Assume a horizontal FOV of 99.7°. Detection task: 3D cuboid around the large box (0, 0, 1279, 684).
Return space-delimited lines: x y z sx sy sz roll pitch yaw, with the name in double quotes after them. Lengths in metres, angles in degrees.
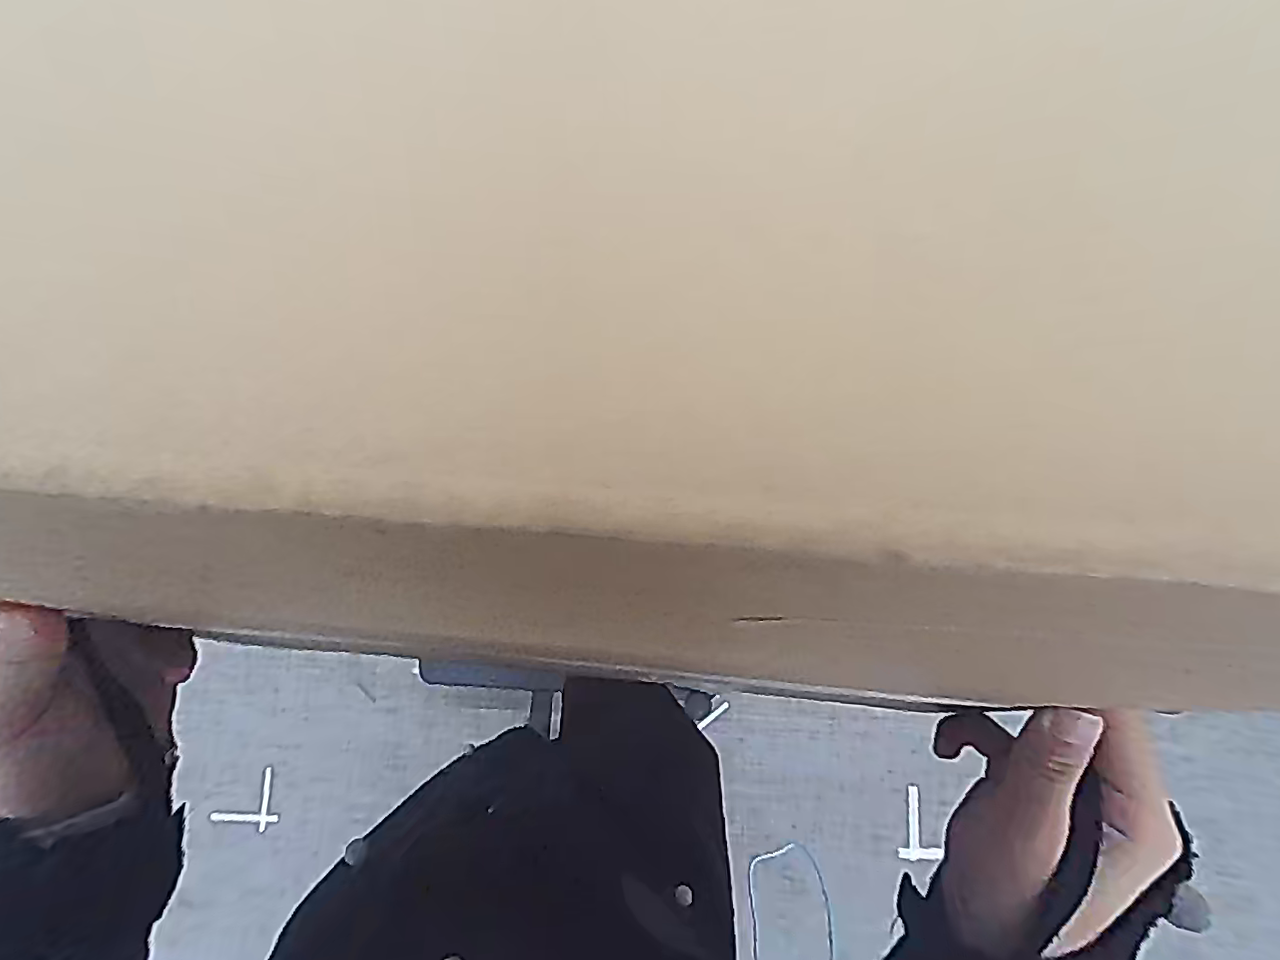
-0.028 -0.088 0.266 0.408 0.320 0.320 3 67 4 "large box"
